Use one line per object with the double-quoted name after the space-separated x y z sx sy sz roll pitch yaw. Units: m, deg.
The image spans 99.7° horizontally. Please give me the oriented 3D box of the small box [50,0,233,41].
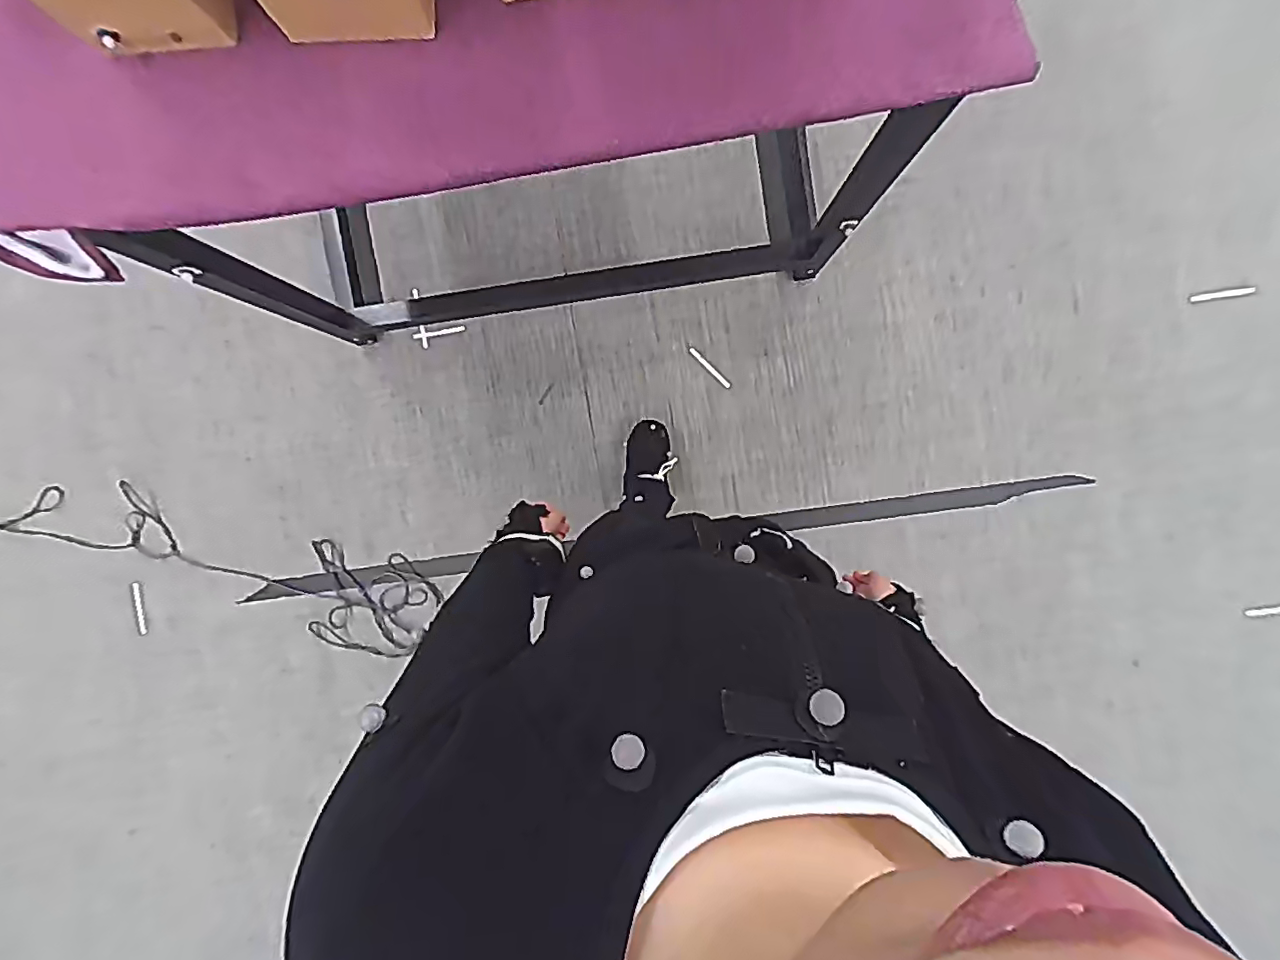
-0.570 -0.606 0.570 0.168 0.176 0.179 -3 92 1 "small box"
